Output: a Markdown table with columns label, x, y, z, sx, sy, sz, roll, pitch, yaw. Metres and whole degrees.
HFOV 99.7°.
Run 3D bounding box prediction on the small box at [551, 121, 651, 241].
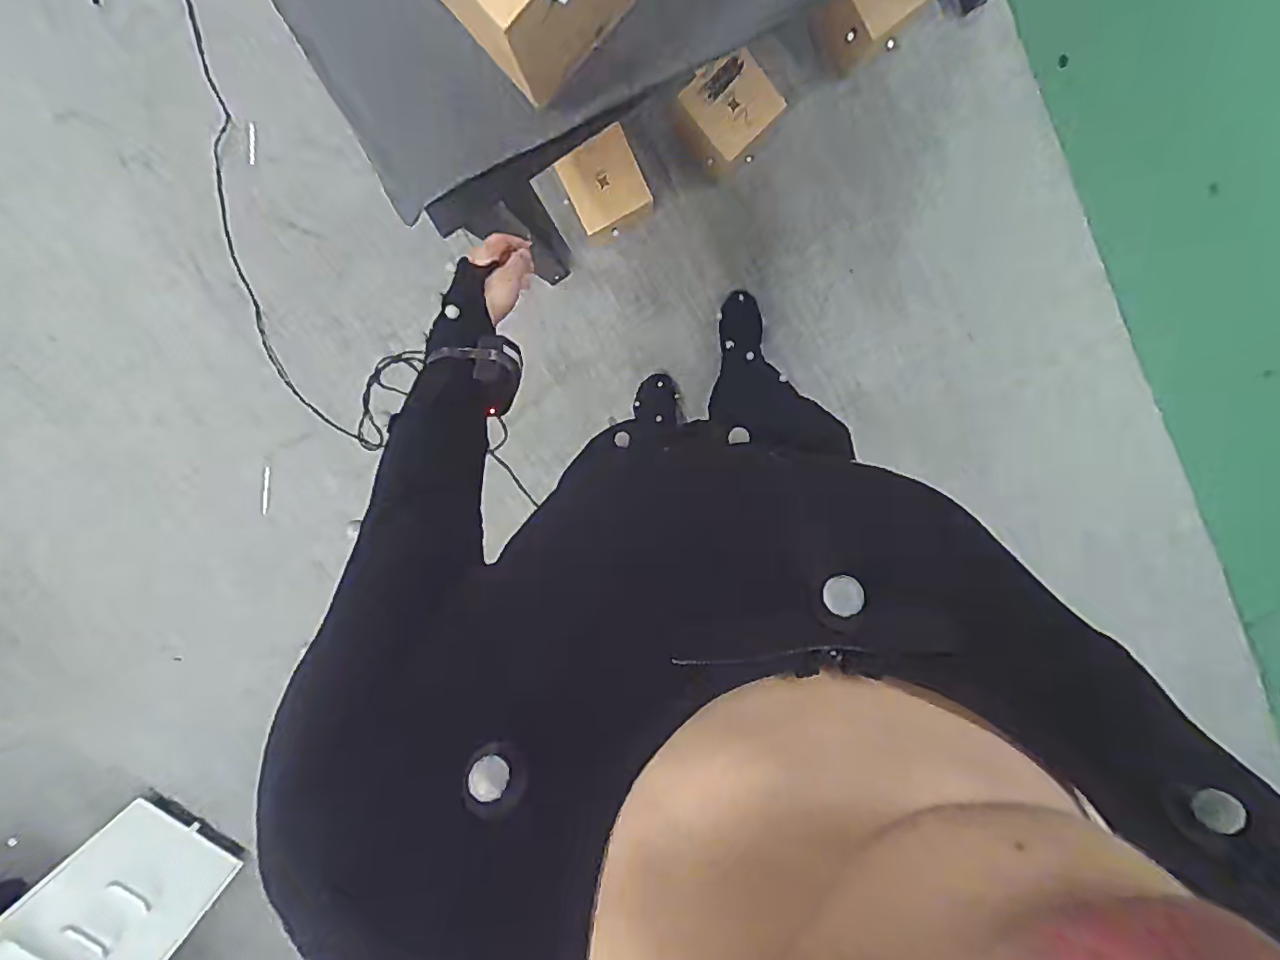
| label | x | y | z | sx | sy | sz | roll | pitch | yaw |
| --- | --- | --- | --- | --- | --- | --- | --- | --- | --- |
| small box | -0.080 | -0.677 | 1.254 | 0.168 | 0.176 | 0.179 | -26 | 101 | 8 |

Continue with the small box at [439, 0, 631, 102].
| label | x | y | z | sx | sy | sz | roll | pitch | yaw |
| --- | --- | --- | --- | --- | --- | --- | --- | --- | --- |
| small box | -0.124 | -0.533 | 0.537 | 0.168 | 0.176 | 0.179 | -43 | 99 | 10 |

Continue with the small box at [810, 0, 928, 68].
| label | x | y | z | sx | sy | sz | roll | pitch | yaw |
| --- | --- | --- | --- | --- | --- | --- | --- | --- | --- |
| small box | 0.492 | -1.029 | 1.148 | 0.168 | 0.176 | 0.179 | -35 | 100 | 9 |
